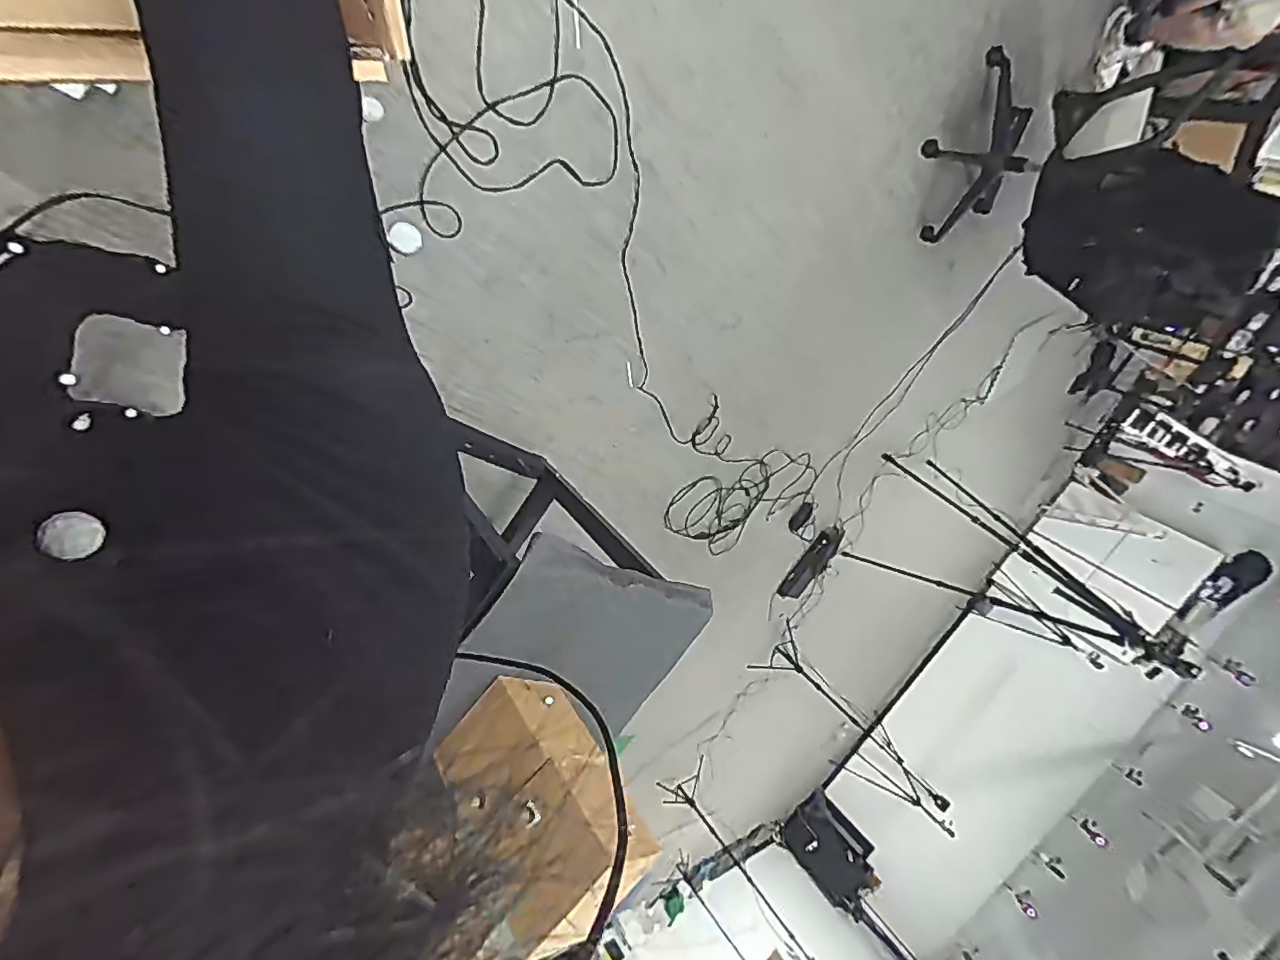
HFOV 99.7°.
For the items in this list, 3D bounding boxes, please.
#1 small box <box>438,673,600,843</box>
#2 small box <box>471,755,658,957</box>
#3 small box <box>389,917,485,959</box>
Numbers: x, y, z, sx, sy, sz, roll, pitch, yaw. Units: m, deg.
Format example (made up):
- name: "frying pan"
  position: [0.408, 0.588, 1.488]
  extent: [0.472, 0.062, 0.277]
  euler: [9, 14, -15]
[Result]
- name: "small box"
  position: [-0.206, 0.452, 0.895]
  extent: [0.179, 0.176, 0.168]
  euler: [-50, 143, 0]
- name: "small box"
  position: [-0.110, 0.533, 0.793]
  extent: [0.168, 0.176, 0.179]
  euler: [-47, 141, -5]
- name: "small box"
  position: [-0.325, 0.817, 0.816]
  extent: [0.179, 0.176, 0.168]
  euler: [-35, 140, -18]
